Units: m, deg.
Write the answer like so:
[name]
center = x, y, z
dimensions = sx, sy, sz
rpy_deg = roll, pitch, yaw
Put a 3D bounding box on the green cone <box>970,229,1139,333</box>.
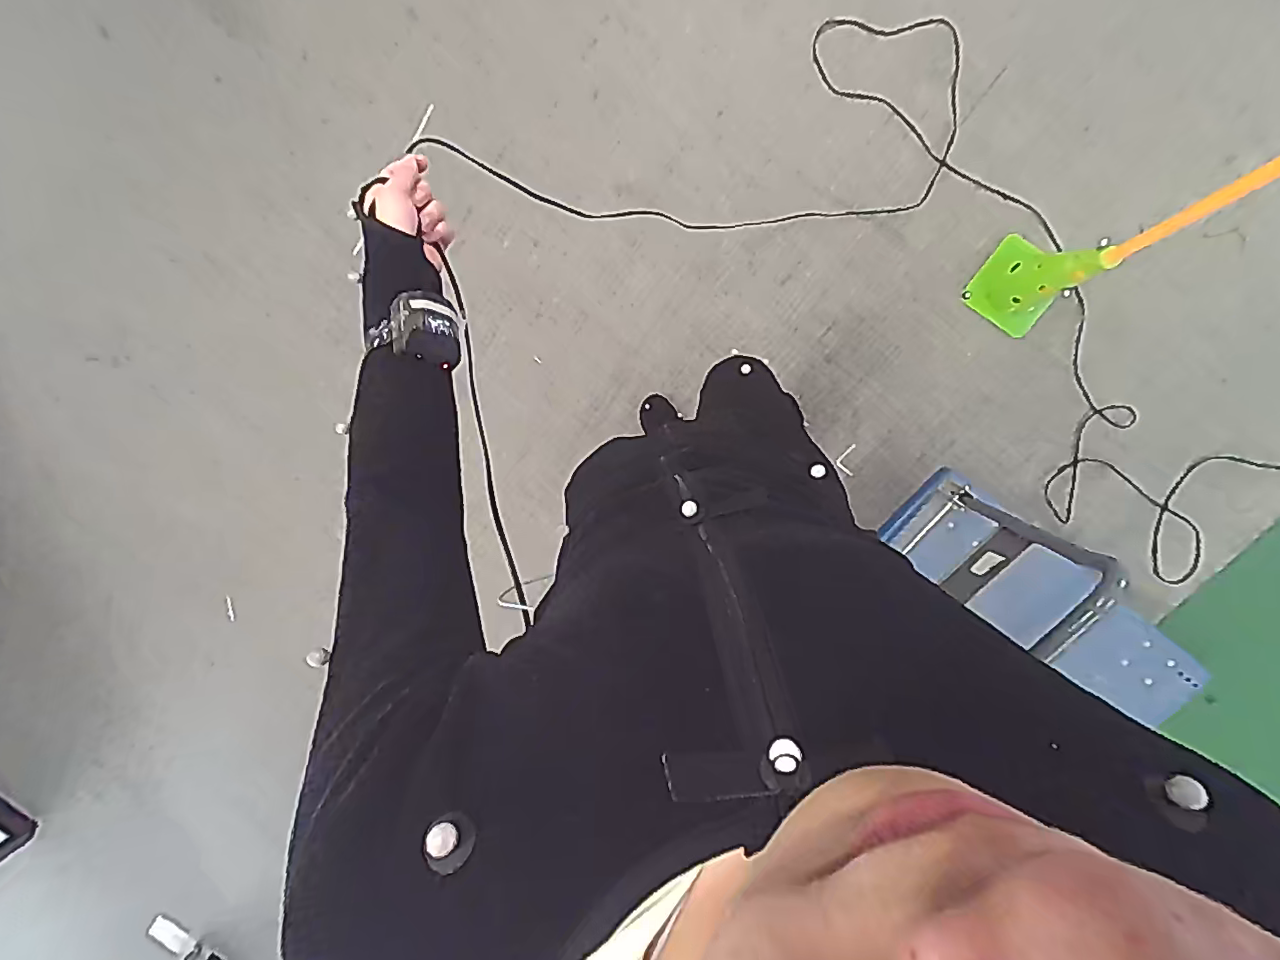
[green cone]
center = 0.963, -0.476, 1.217
dimensions = 0.200, 0.368, 0.202
rpy_deg = 34, 103, 0
